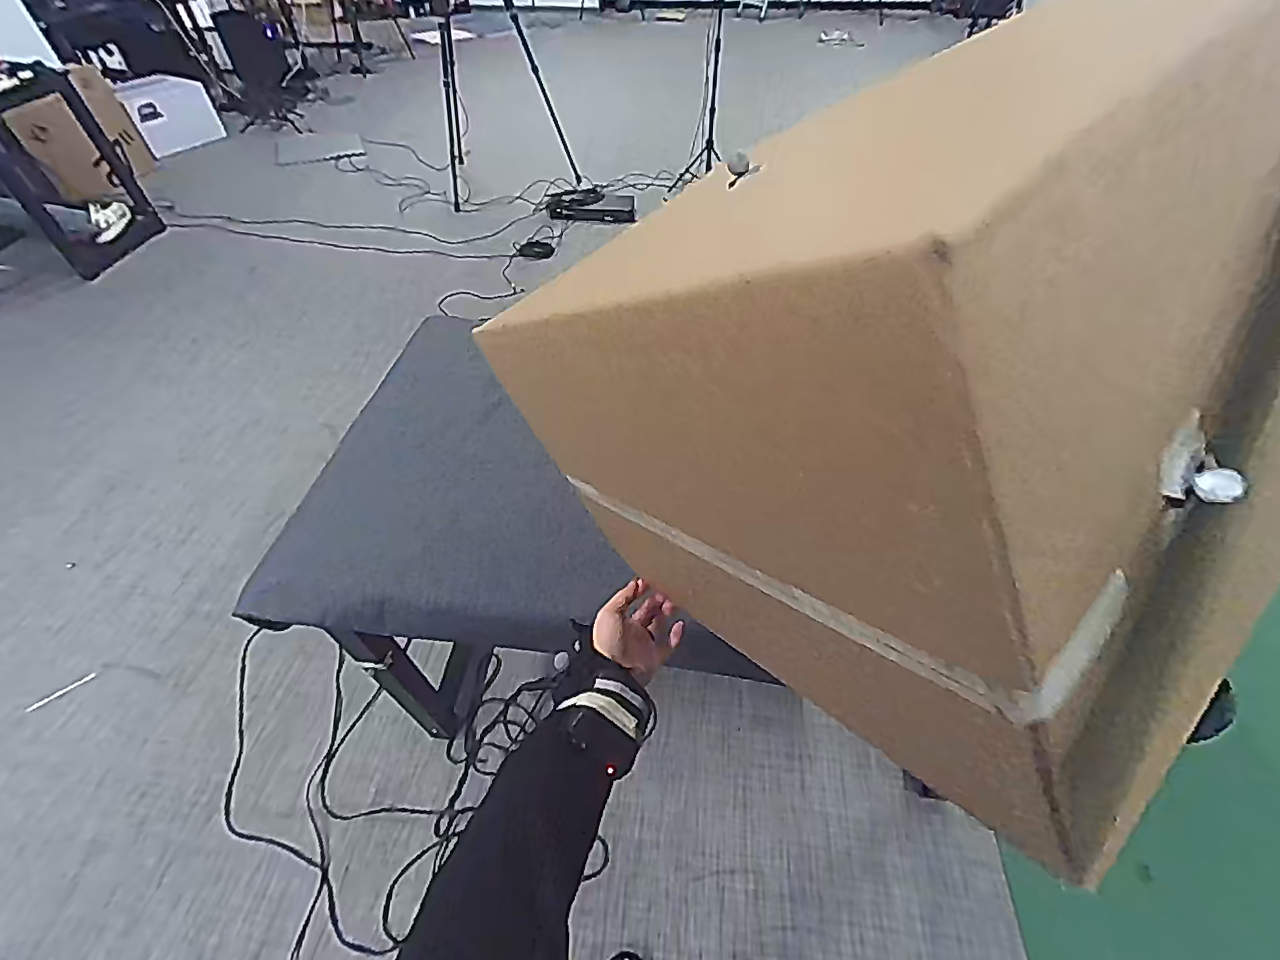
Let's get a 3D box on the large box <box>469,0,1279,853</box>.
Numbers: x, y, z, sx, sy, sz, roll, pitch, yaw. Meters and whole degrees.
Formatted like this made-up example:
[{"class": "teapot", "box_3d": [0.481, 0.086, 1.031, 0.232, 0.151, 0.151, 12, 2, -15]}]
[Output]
[{"class": "large box", "box_3d": [0.137, -0.058, 0.391, 0.320, 0.320, 0.408, -42, 29, -18]}]
